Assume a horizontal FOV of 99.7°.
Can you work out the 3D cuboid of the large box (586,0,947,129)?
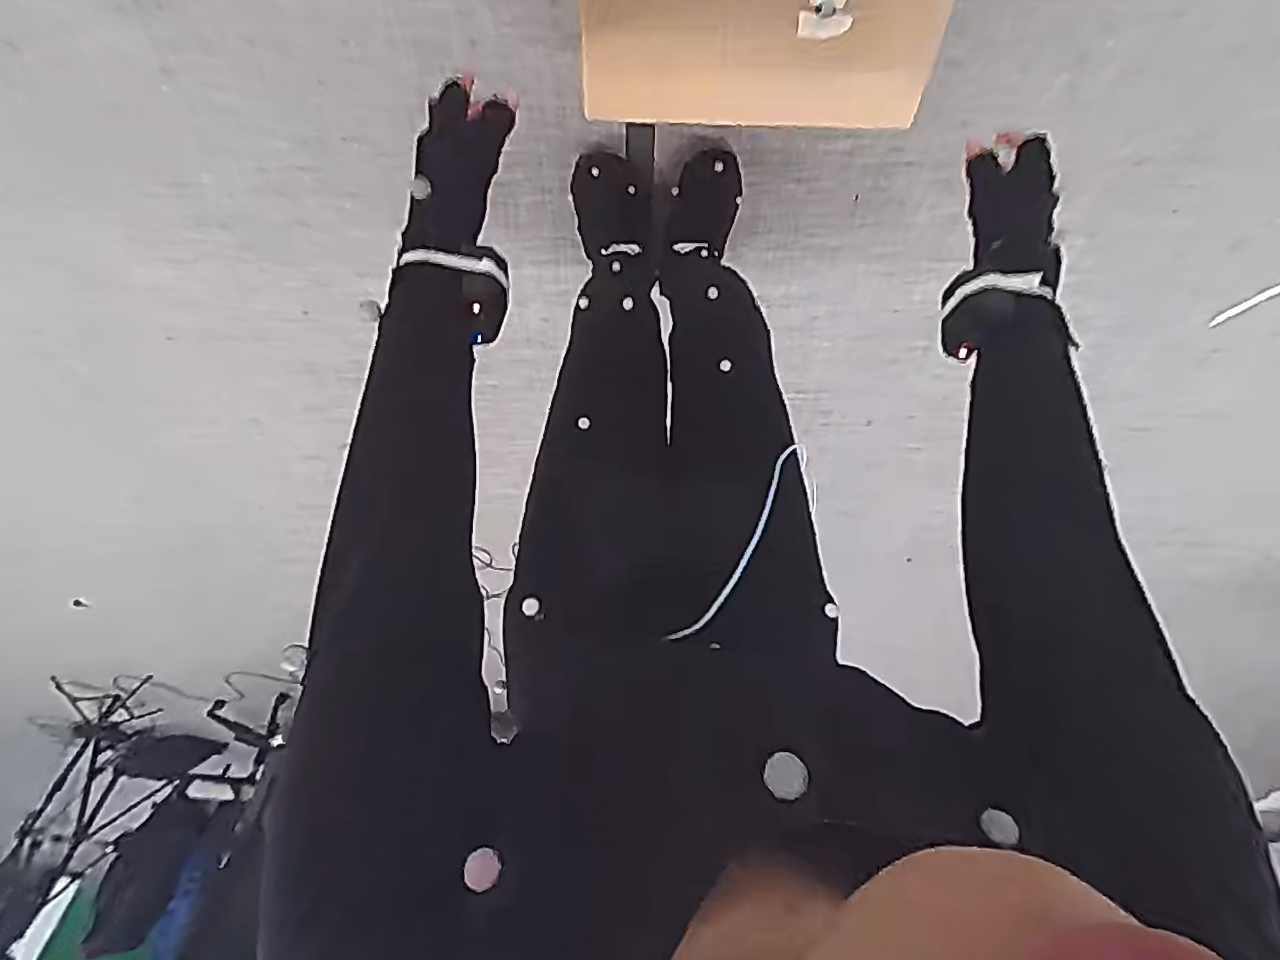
[{"bbox_3d":[0.137,-0.657,0.666,0.408,0.320,0.320,1,139,-2],"label":"large box"}]
